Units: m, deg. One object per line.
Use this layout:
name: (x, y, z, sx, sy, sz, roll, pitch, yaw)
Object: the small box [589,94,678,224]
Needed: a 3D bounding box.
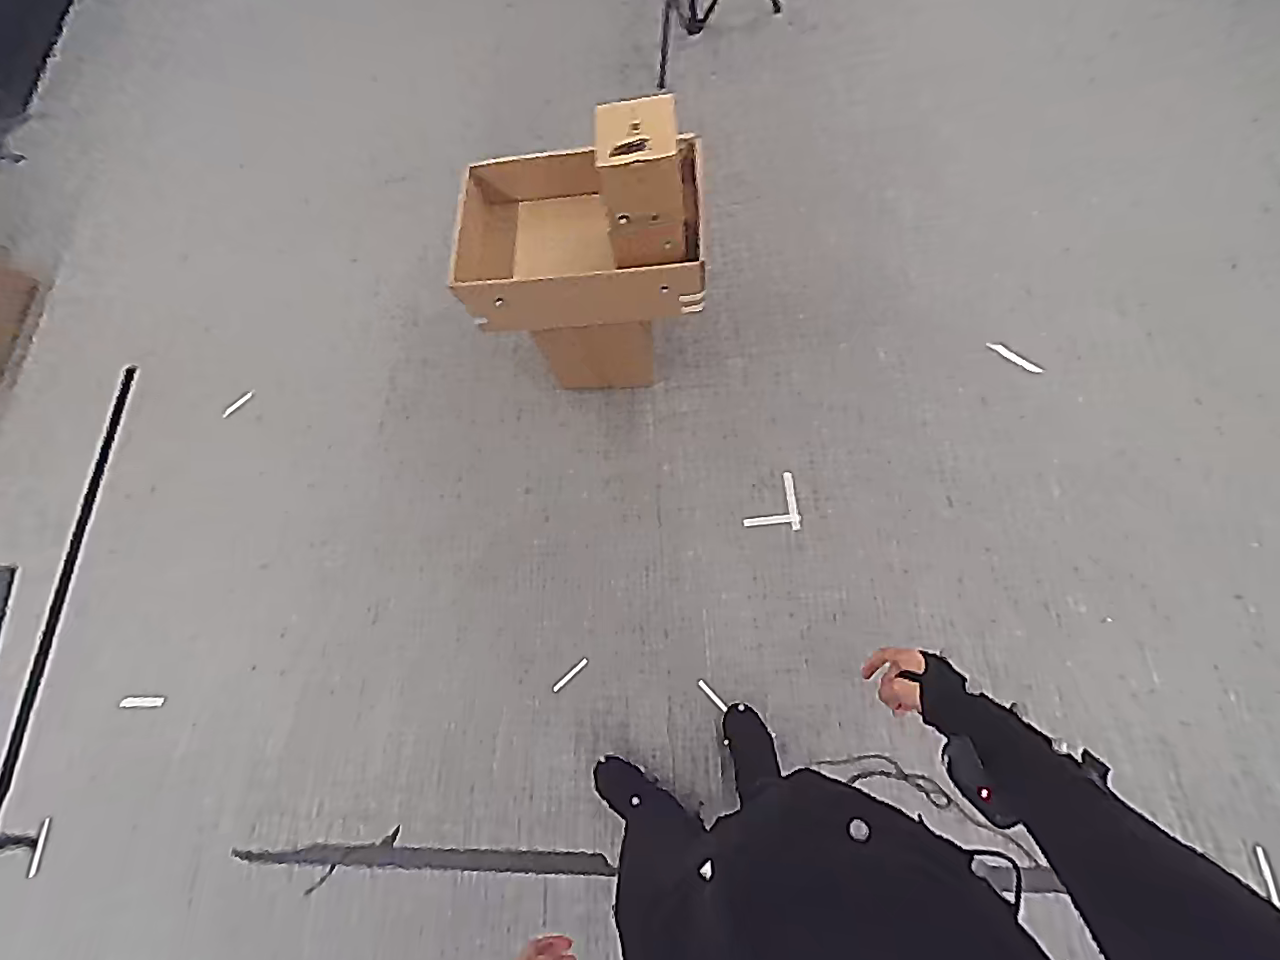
small box: (-0.010, -0.676, 1.162, 0.168, 0.176, 0.179, -5, 71, 6)
